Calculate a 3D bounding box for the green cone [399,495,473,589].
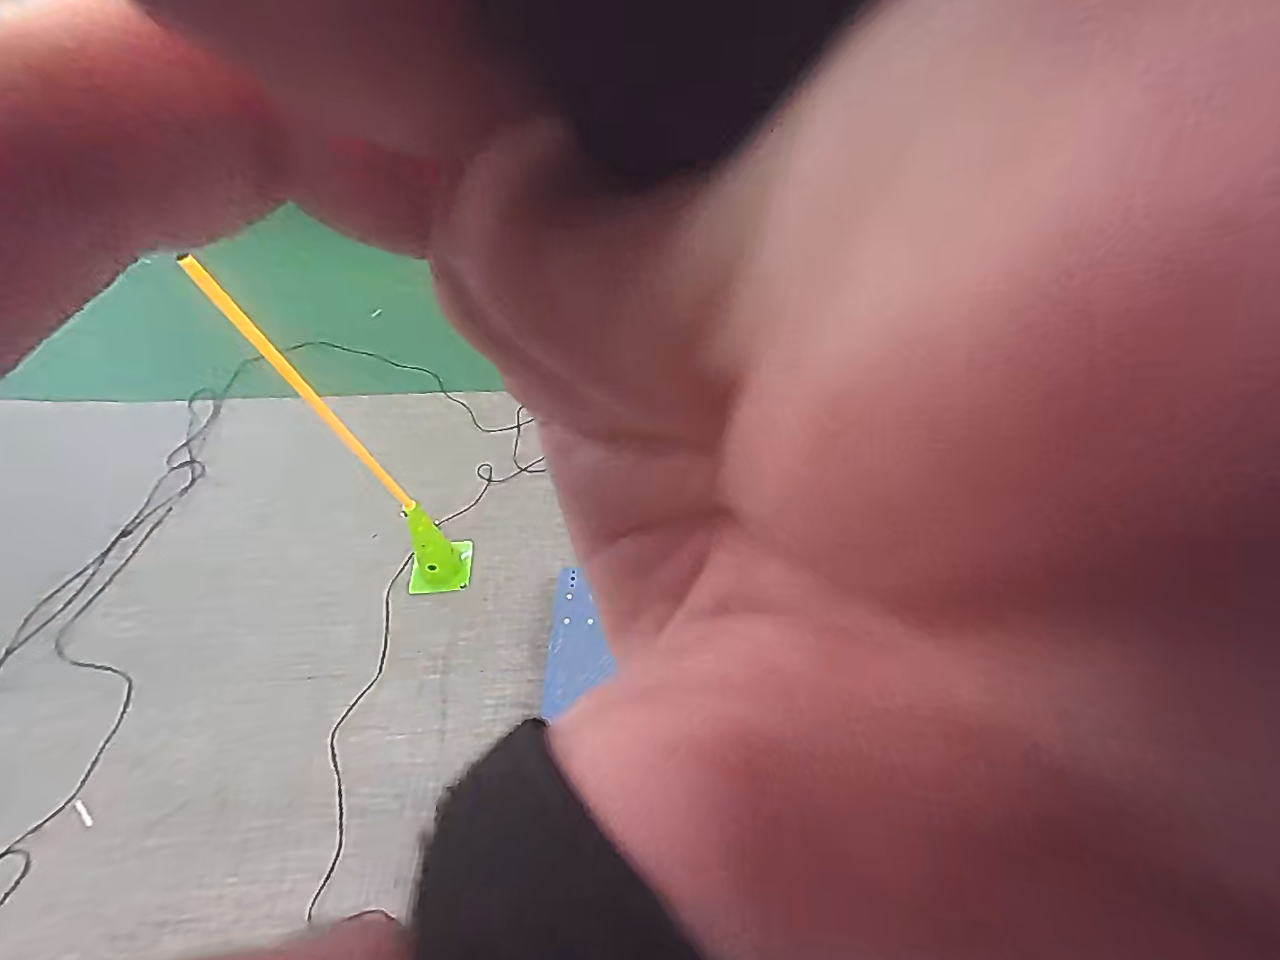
[{"bbox_3d":[-0.696,0.172,1.763,0.202,0.368,0.200,-6,49,-2],"label":"green cone"}]
